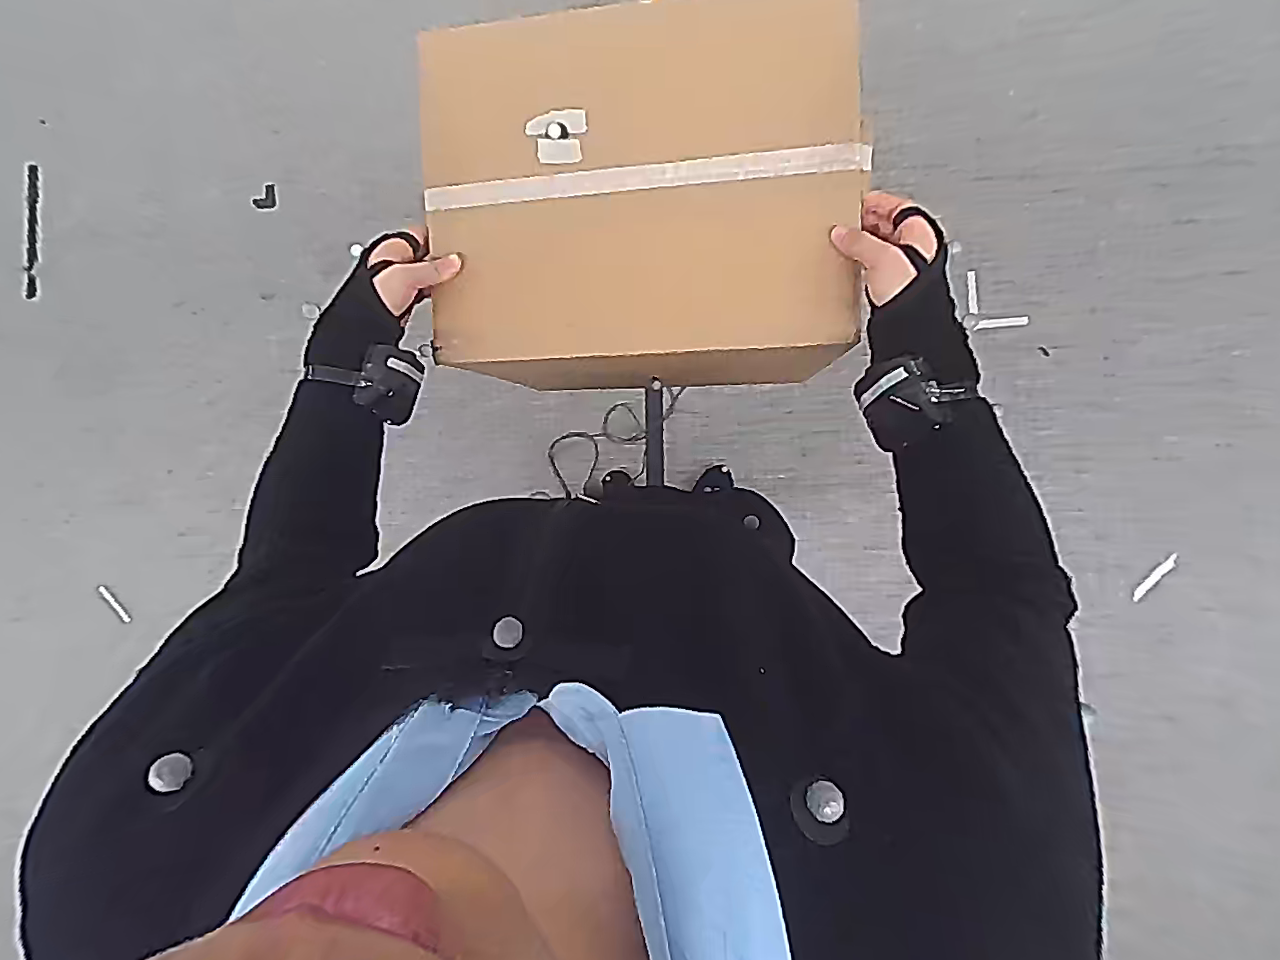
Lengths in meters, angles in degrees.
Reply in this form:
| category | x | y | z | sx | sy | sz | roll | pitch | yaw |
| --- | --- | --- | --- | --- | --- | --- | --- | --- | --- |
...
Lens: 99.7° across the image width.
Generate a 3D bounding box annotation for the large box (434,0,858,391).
| category | x | y | z | sx | sy | sz | roll | pitch | yaw |
| --- | --- | --- | --- | --- | --- | --- | --- | --- | --- |
| large box | 0.022 | -0.283 | 0.656 | 0.408 | 0.320 | 0.320 | -1 | 92 | 10 |
